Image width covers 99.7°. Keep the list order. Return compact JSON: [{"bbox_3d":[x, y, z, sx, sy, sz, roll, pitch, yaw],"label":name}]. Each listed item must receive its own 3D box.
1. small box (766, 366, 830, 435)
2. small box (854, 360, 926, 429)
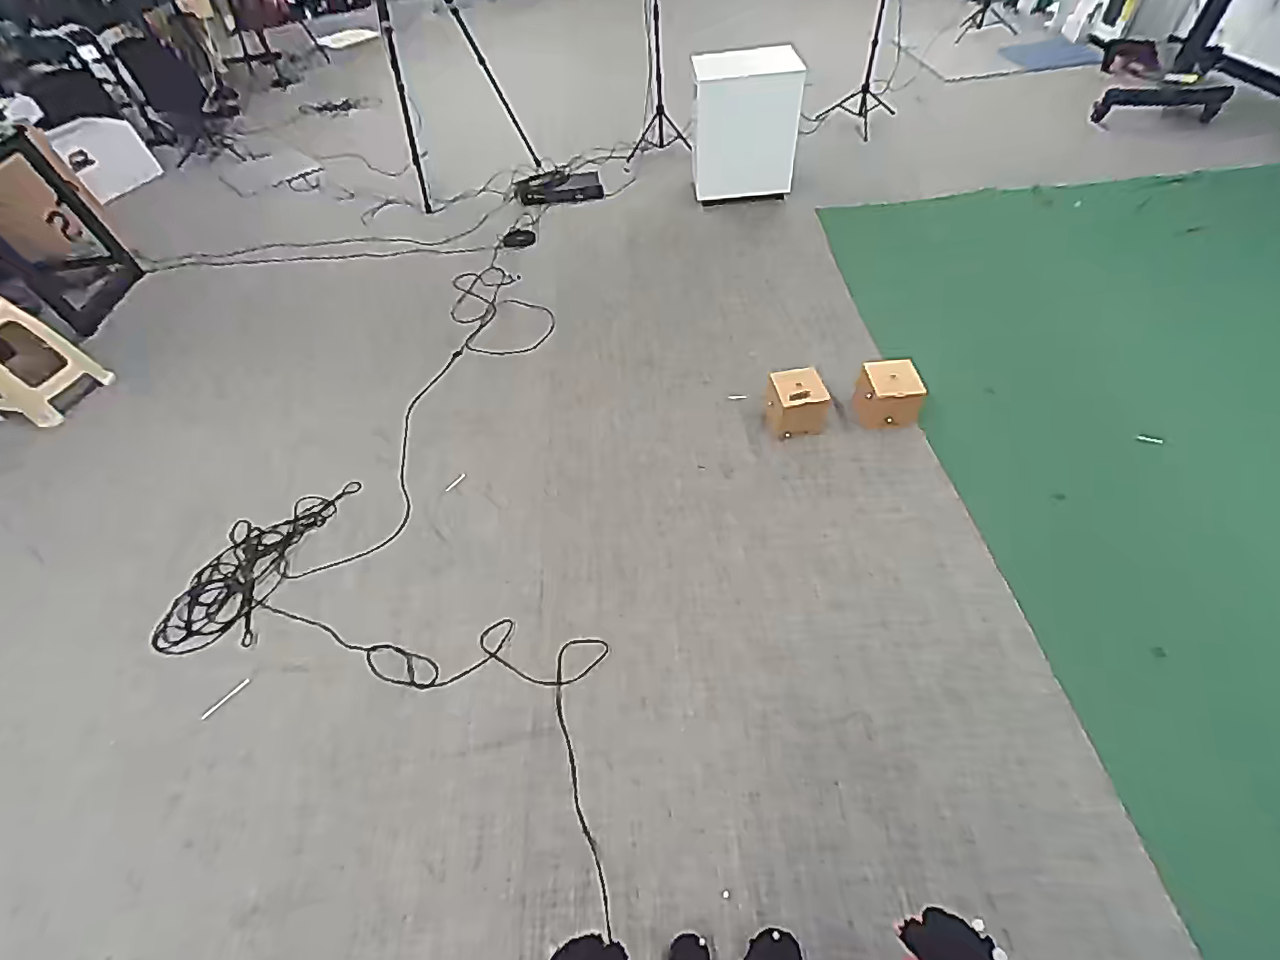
[{"bbox_3d":[0.559,-0.277,1.930,0.168,0.176,0.179,-8,51,-2],"label":"small box"},{"bbox_3d":[0.881,-0.304,1.925,0.168,0.176,0.179,-4,53,2],"label":"small box"}]
